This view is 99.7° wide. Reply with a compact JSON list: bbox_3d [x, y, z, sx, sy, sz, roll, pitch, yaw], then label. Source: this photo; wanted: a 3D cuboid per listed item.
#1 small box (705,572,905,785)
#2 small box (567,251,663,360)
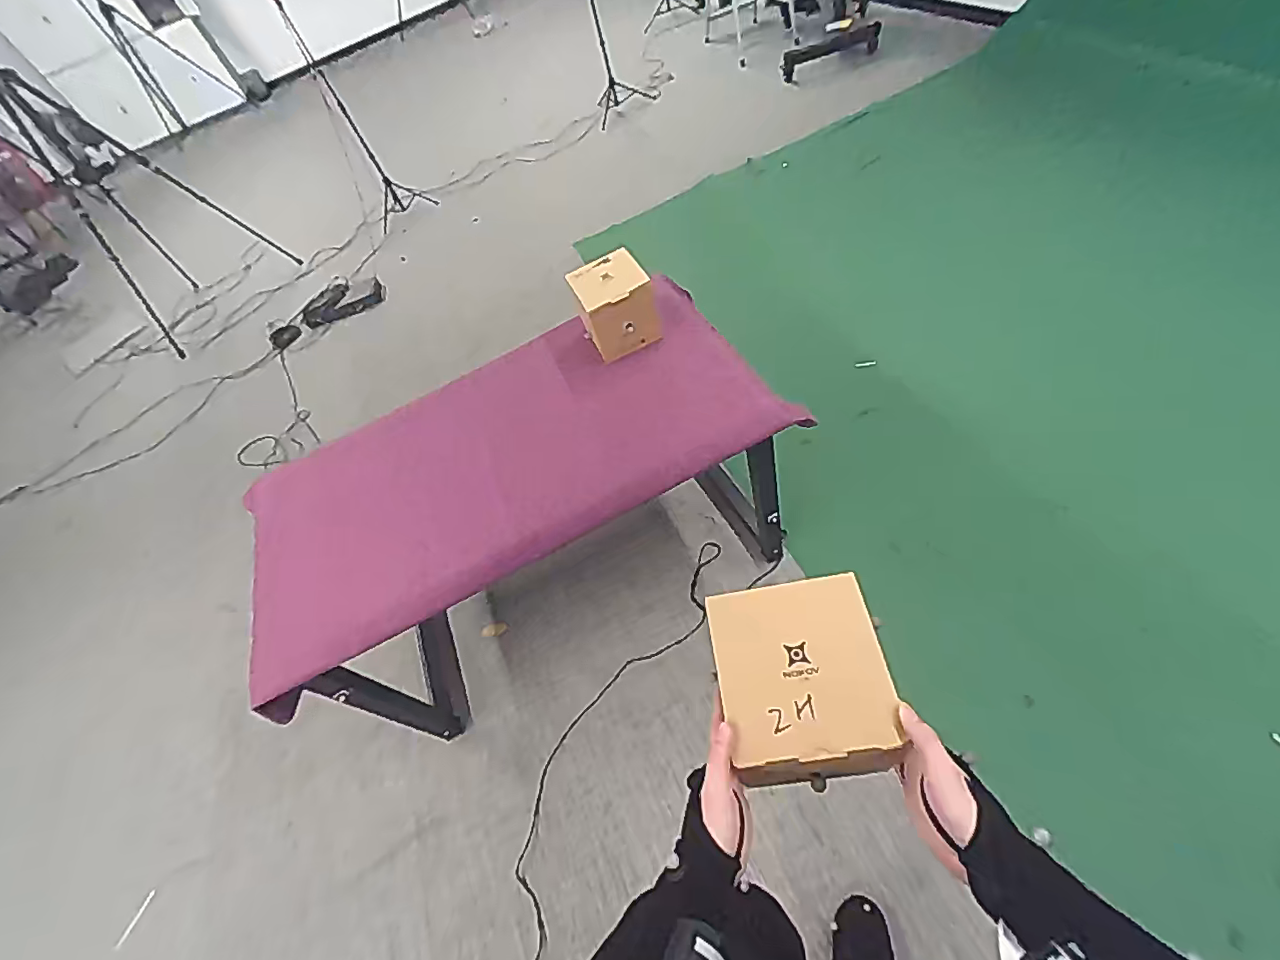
[{"bbox_3d":[0.172,0.229,0.611,0.168,0.176,0.179,-11,53,8],"label":"small box"},{"bbox_3d":[-0.057,-0.424,1.343,0.168,0.176,0.179,-26,54,-3],"label":"small box"}]
